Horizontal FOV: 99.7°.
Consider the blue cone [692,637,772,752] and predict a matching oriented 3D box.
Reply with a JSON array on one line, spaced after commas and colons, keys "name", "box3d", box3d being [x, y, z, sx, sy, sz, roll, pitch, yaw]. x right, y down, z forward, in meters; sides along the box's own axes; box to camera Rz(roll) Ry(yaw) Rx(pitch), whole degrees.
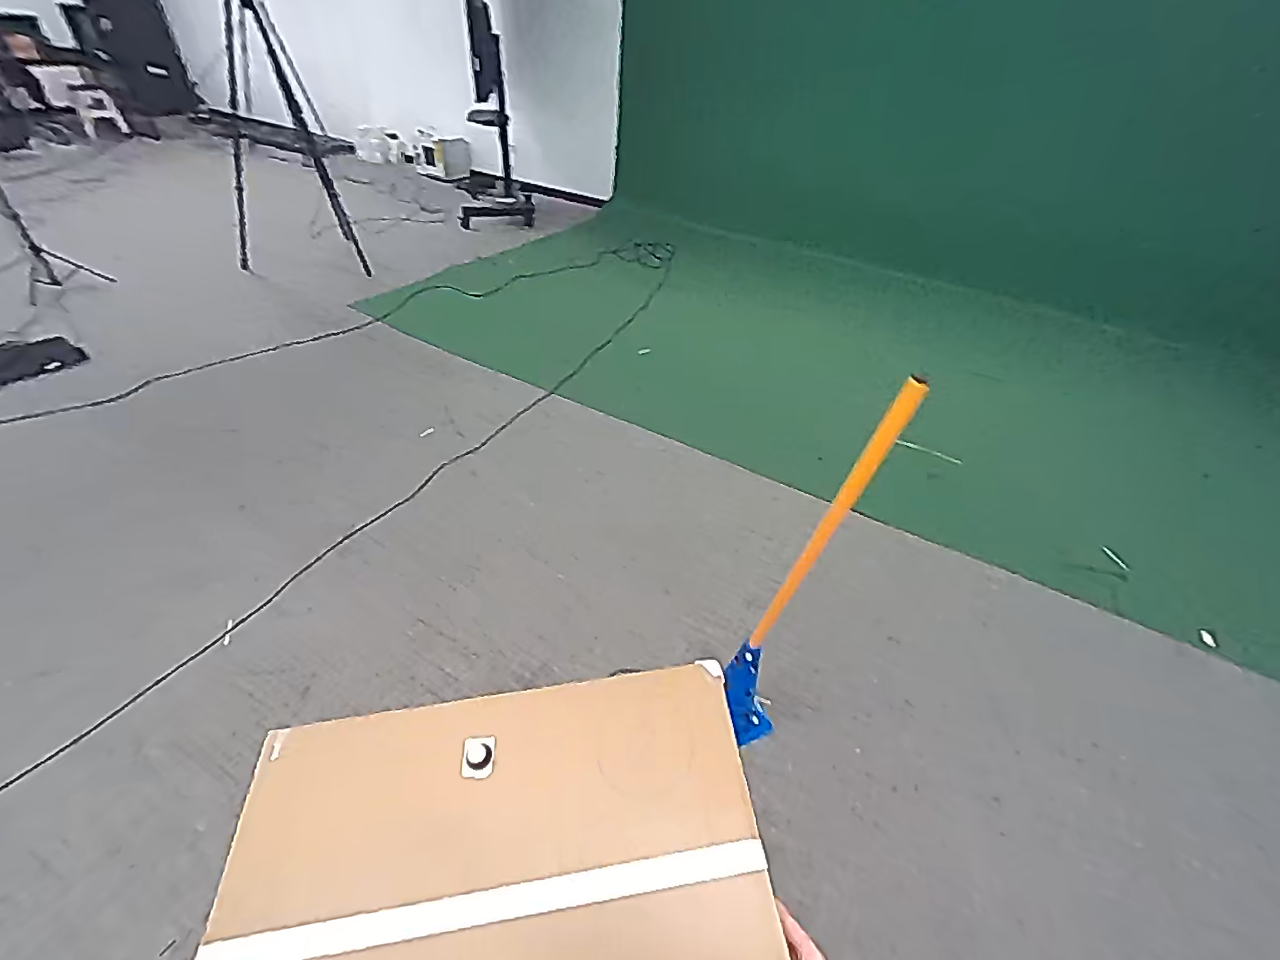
[{"name": "blue cone", "box3d": [0.275, 0.529, 1.434, 0.193, 0.380, 0.192, -14, 45, -24]}]
